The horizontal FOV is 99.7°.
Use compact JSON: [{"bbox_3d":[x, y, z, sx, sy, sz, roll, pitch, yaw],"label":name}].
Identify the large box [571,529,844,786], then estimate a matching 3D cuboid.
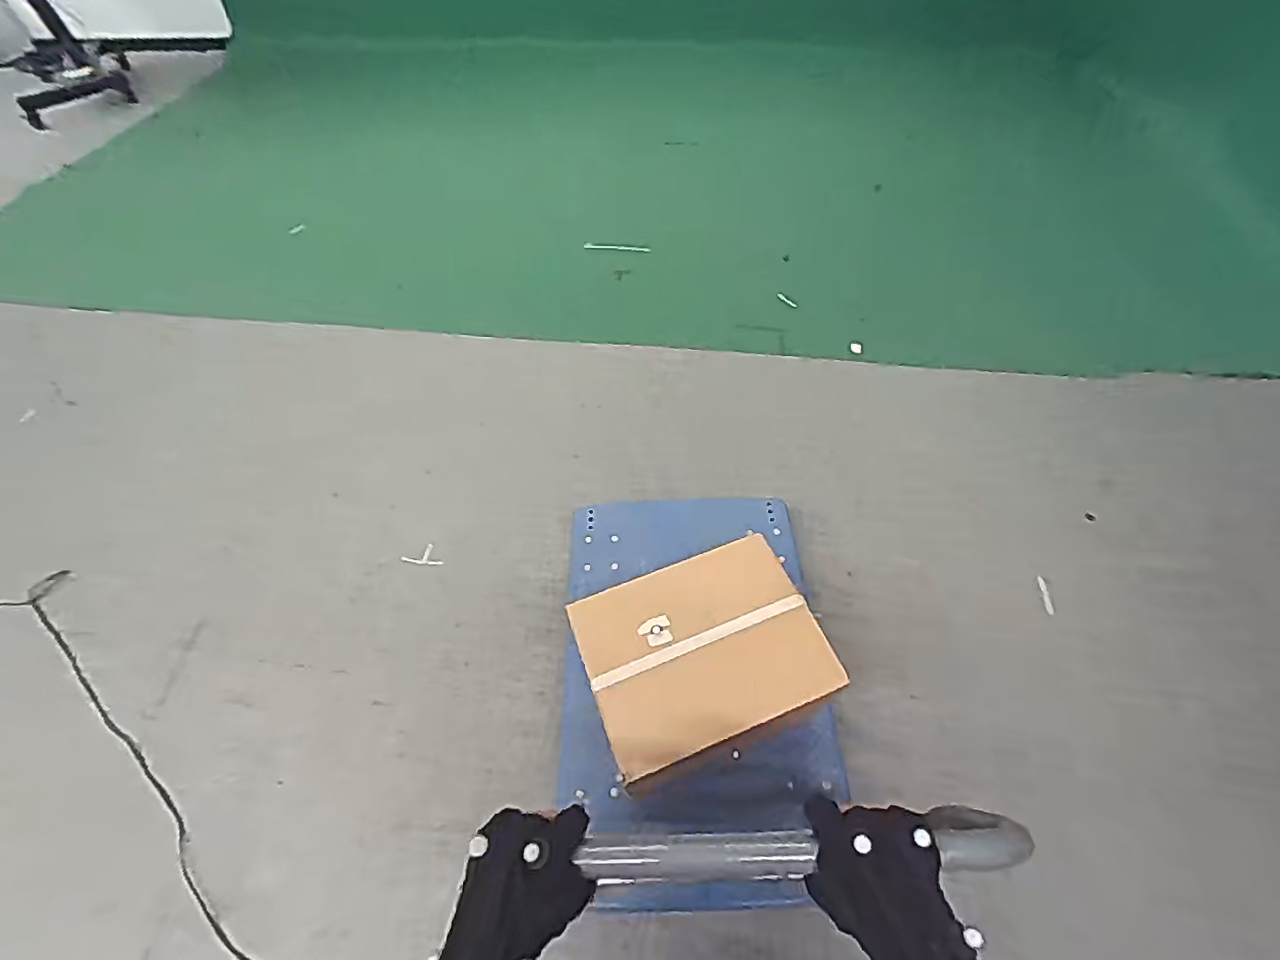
[{"bbox_3d":[0.117,0.359,1.077,0.408,0.320,0.320,-20,56,-9],"label":"large box"}]
